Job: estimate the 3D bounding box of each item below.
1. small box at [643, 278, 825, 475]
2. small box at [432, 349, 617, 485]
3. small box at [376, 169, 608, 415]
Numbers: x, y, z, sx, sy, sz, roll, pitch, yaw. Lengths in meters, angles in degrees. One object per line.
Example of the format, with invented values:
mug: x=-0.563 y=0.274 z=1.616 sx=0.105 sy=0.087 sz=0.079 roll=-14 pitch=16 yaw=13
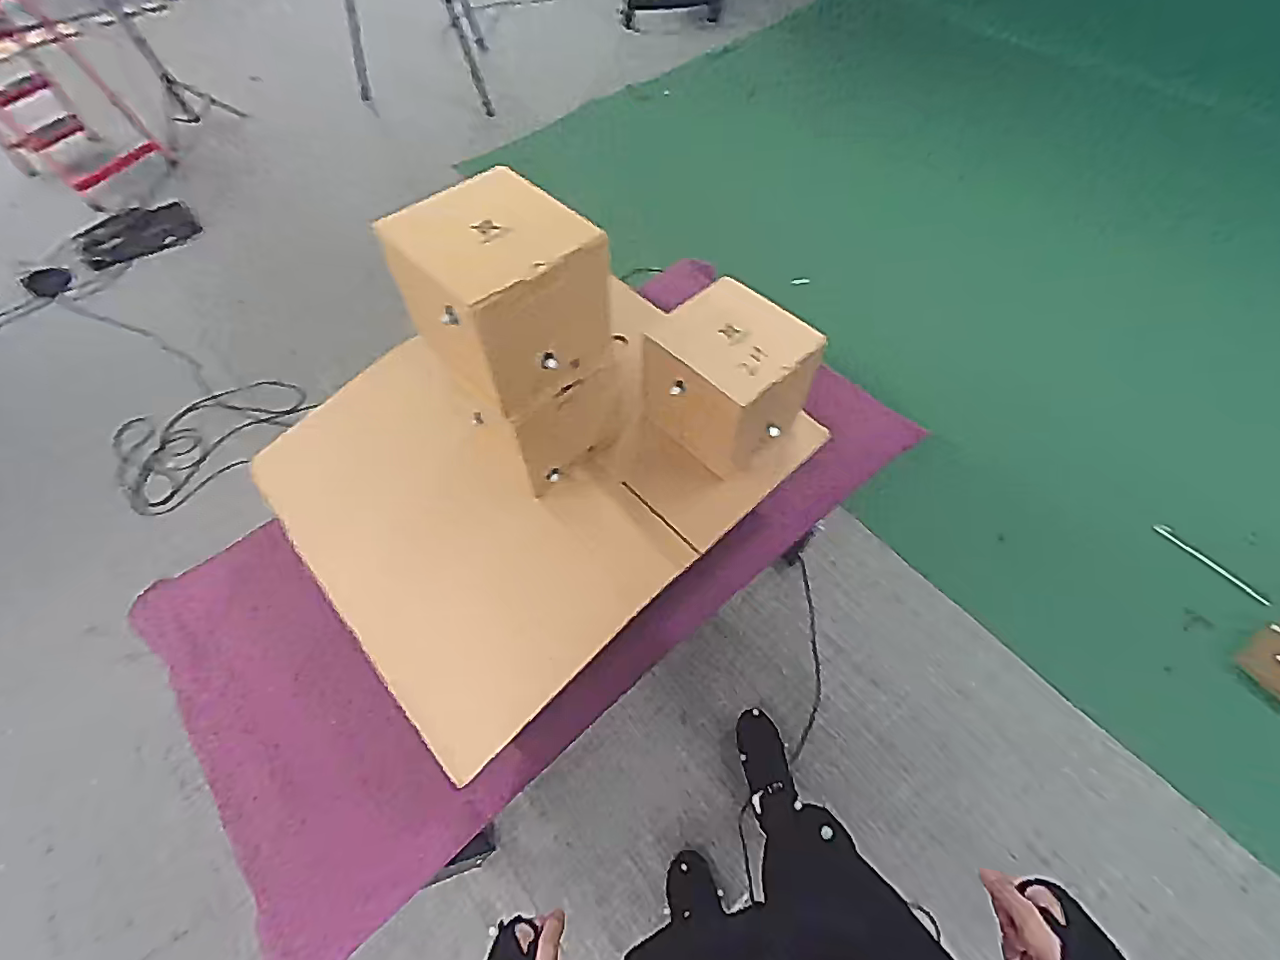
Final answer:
small box: x=0.118 y=-0.140 z=0.757 sx=0.168 sy=0.176 sz=0.179 roll=-38 pitch=66 yaw=-20
small box: x=-0.145 y=-0.116 z=0.743 sx=0.168 sy=0.176 sz=0.179 roll=-39 pitch=65 yaw=-22
small box: x=-0.152 y=-0.206 z=0.608 sx=0.168 sy=0.176 sz=0.179 roll=-39 pitch=67 yaw=-22
